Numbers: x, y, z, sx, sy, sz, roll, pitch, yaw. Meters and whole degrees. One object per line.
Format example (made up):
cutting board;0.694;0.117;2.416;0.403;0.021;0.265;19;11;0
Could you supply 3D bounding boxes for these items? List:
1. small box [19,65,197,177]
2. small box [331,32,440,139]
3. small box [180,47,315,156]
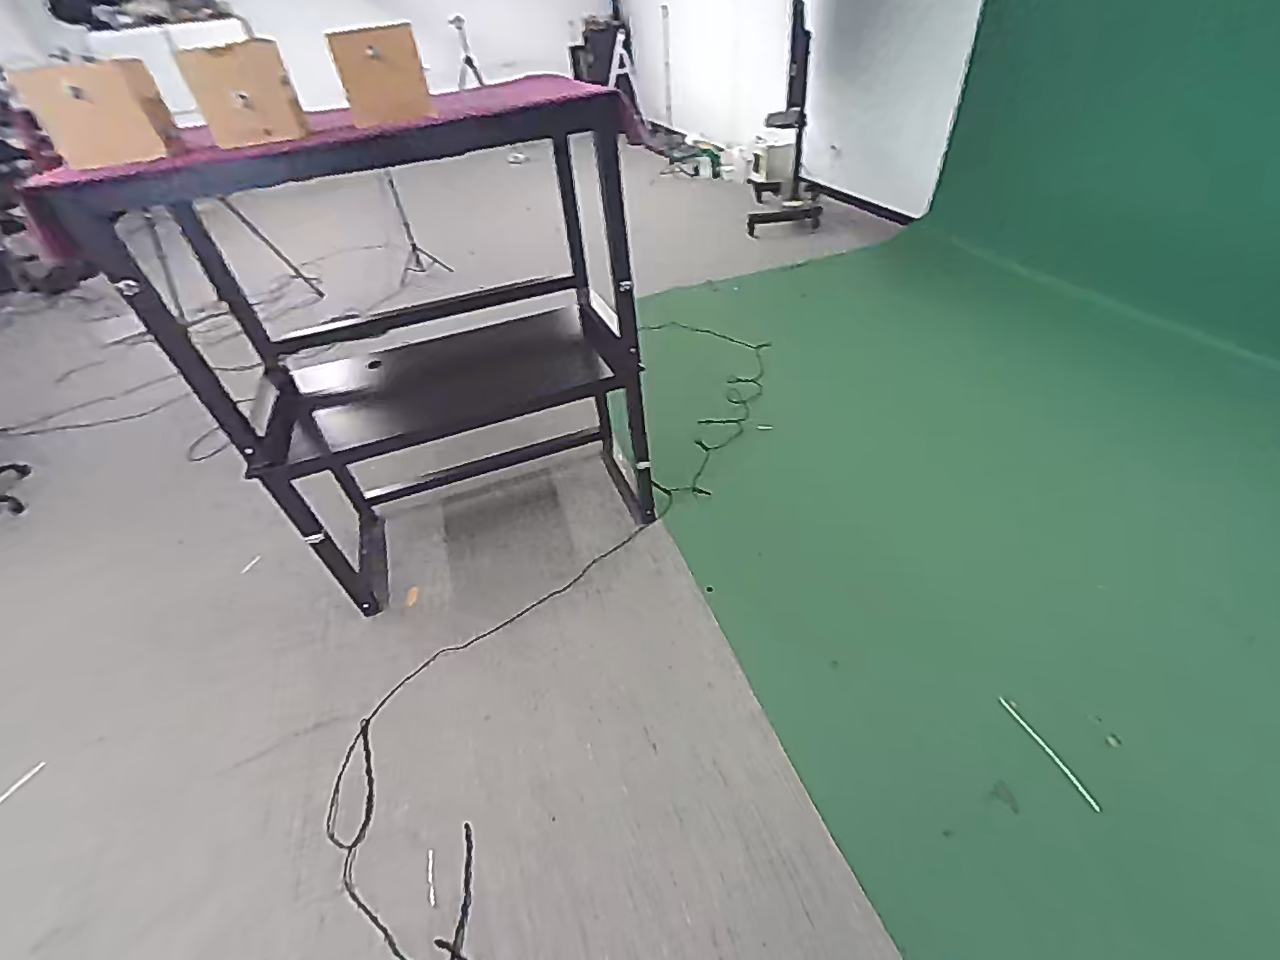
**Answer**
small box;-1.072;-0.737;1.110;0.179;0.176;0.168;-17;42;-14
small box;-0.562;-0.891;1.220;0.179;0.176;0.168;-18;41;-10
small box;-0.827;-0.812;1.163;0.168;0.176;0.179;-17;42;-12
